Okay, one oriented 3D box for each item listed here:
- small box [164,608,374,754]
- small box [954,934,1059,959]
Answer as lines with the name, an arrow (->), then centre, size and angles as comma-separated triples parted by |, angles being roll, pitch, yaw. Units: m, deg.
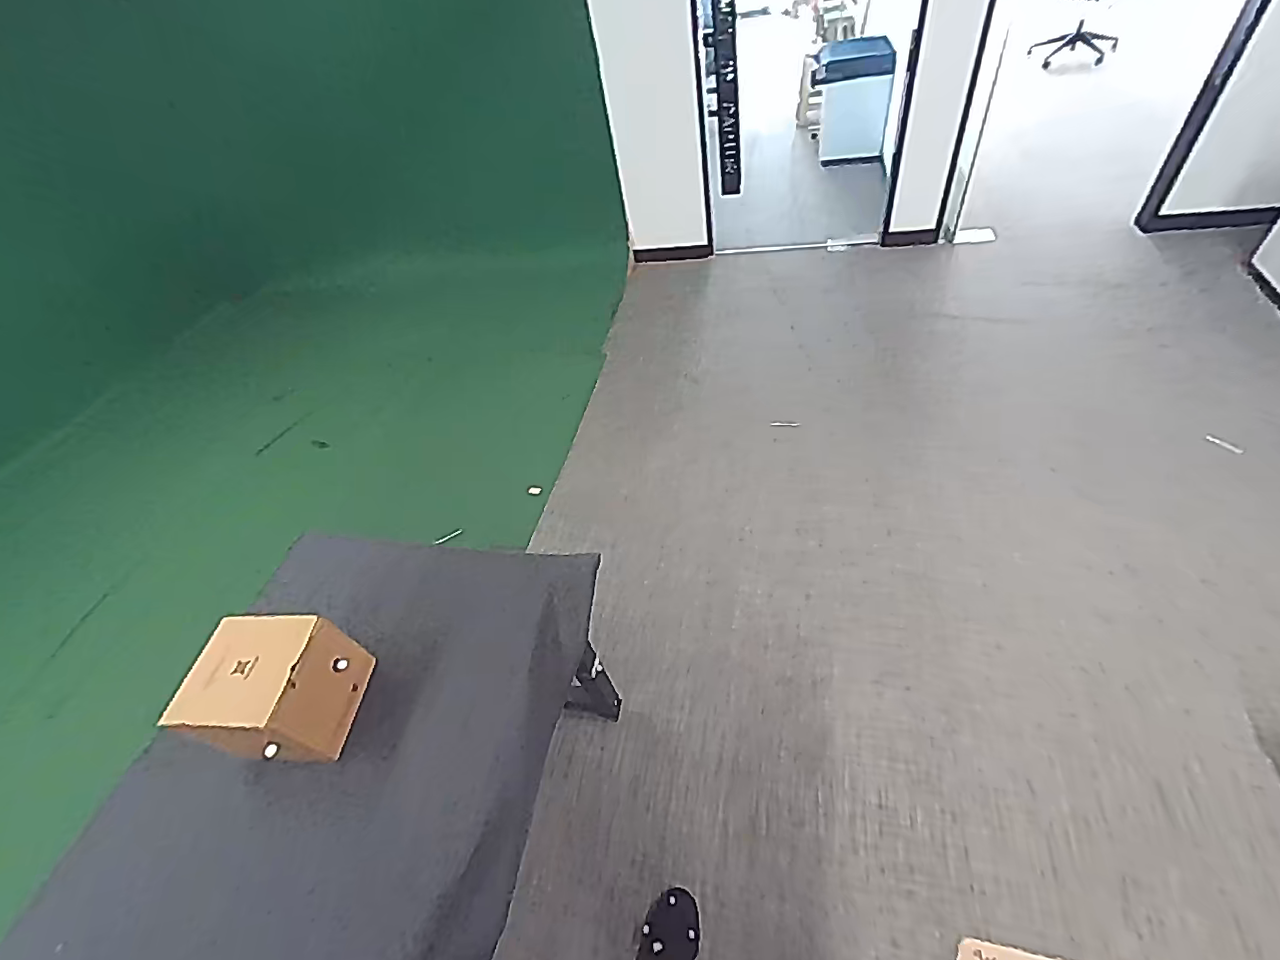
small box -> -0.558, 0.315, 0.846 | 0.179, 0.176, 0.168 | -4, 46, 10
small box -> 0.443, 0.658, 0.578 | 0.168, 0.176, 0.179 | -13, 4, 36
